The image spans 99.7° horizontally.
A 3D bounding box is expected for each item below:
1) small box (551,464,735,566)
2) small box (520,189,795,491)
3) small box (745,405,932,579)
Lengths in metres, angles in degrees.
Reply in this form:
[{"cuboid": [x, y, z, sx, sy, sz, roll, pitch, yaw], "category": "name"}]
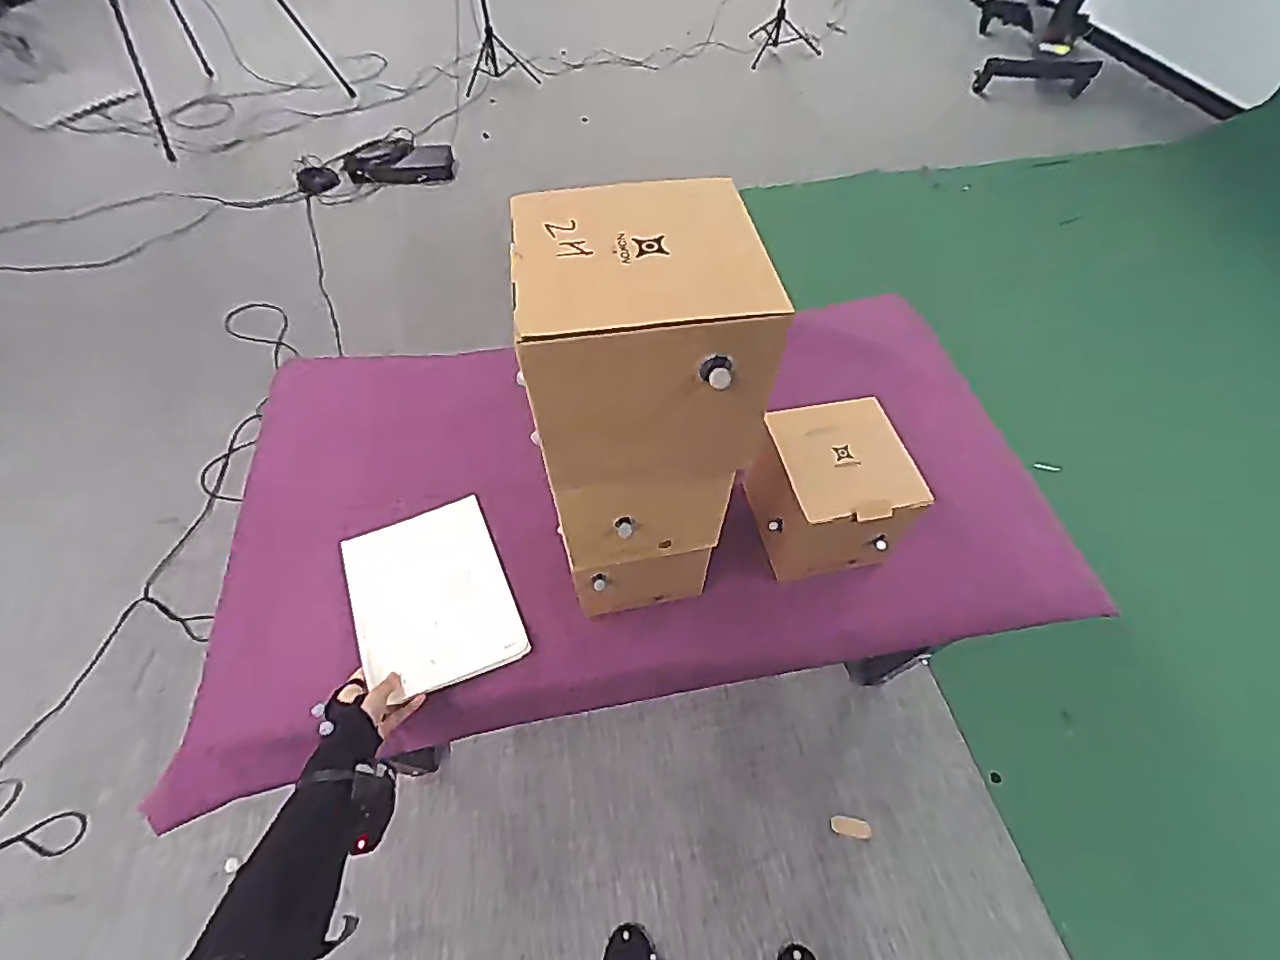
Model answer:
[{"cuboid": [-0.007, -0.020, 0.583, 0.168, 0.176, 0.179, -9, 56, -6], "category": "small box"}, {"cuboid": [0.003, -0.108, 0.444, 0.179, 0.176, 0.168, -7, 55, -4], "category": "small box"}, {"cuboid": [0.257, 0.024, 0.751, 0.168, 0.176, 0.179, -8, 55, -6], "category": "small box"}]
